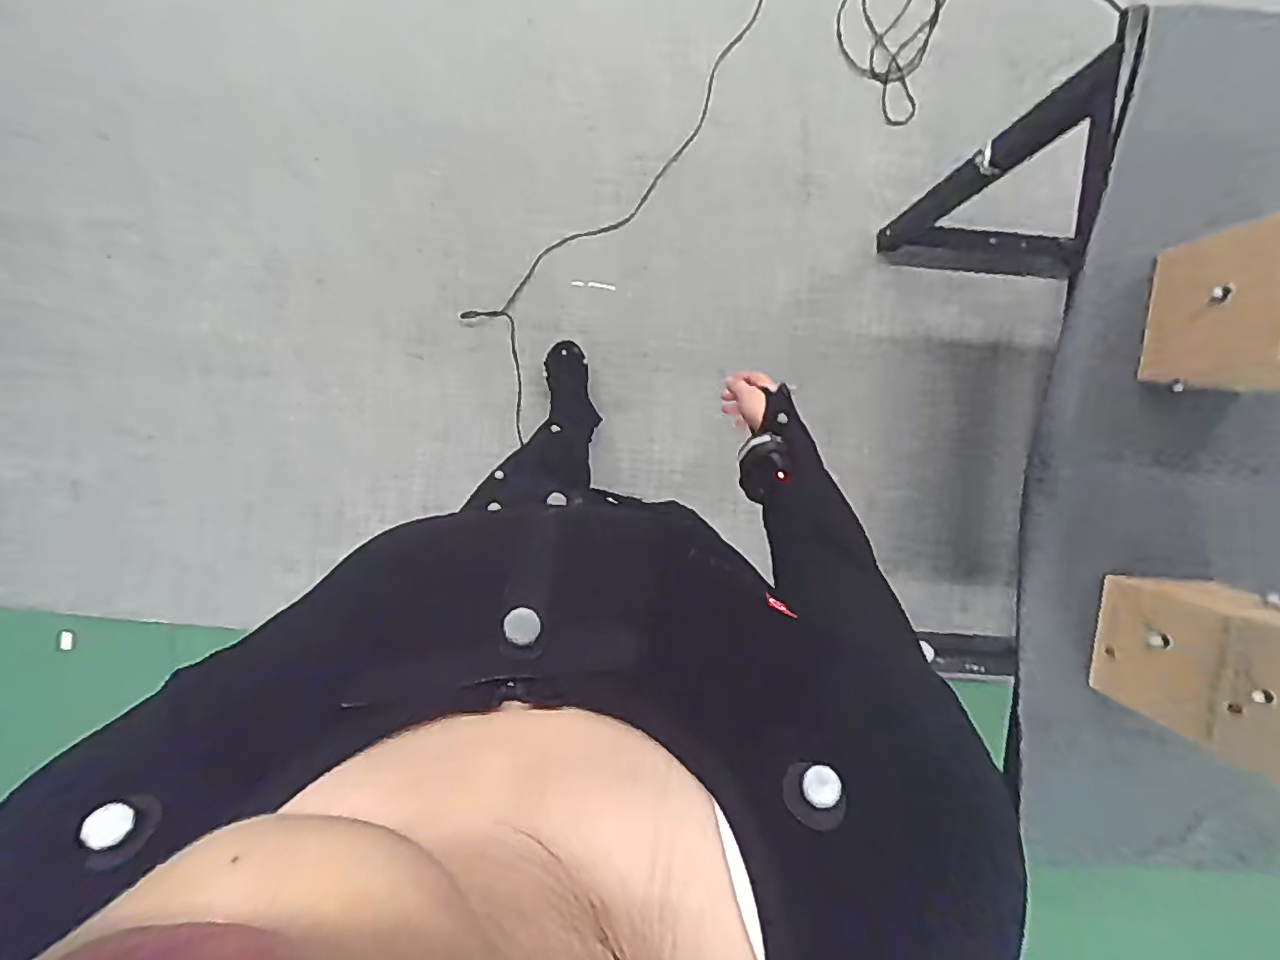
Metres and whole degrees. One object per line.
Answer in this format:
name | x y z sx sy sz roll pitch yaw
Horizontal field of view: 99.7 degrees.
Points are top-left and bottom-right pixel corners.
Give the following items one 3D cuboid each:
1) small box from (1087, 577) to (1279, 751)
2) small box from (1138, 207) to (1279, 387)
small box | 0.738 0.228 0.704 0.179 0.176 0.168 4 94 -4
small box | 0.777 -0.214 0.668 0.168 0.176 0.179 5 94 -4
